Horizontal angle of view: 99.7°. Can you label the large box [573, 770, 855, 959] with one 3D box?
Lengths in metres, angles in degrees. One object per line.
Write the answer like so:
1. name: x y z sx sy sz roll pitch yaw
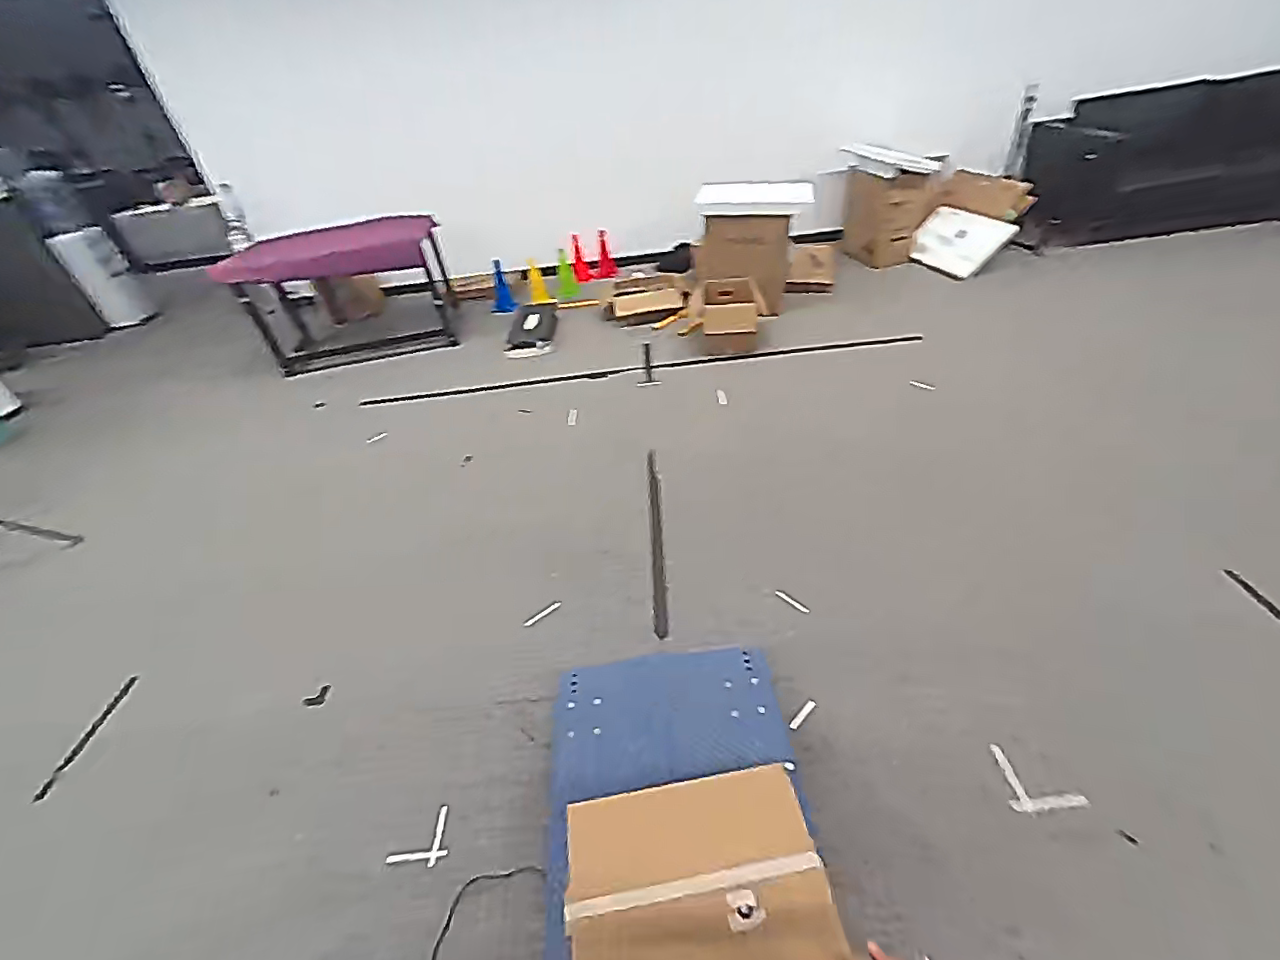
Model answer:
1. large box: 0.109 0.772 0.951 0.408 0.320 0.320 -9 39 -3
